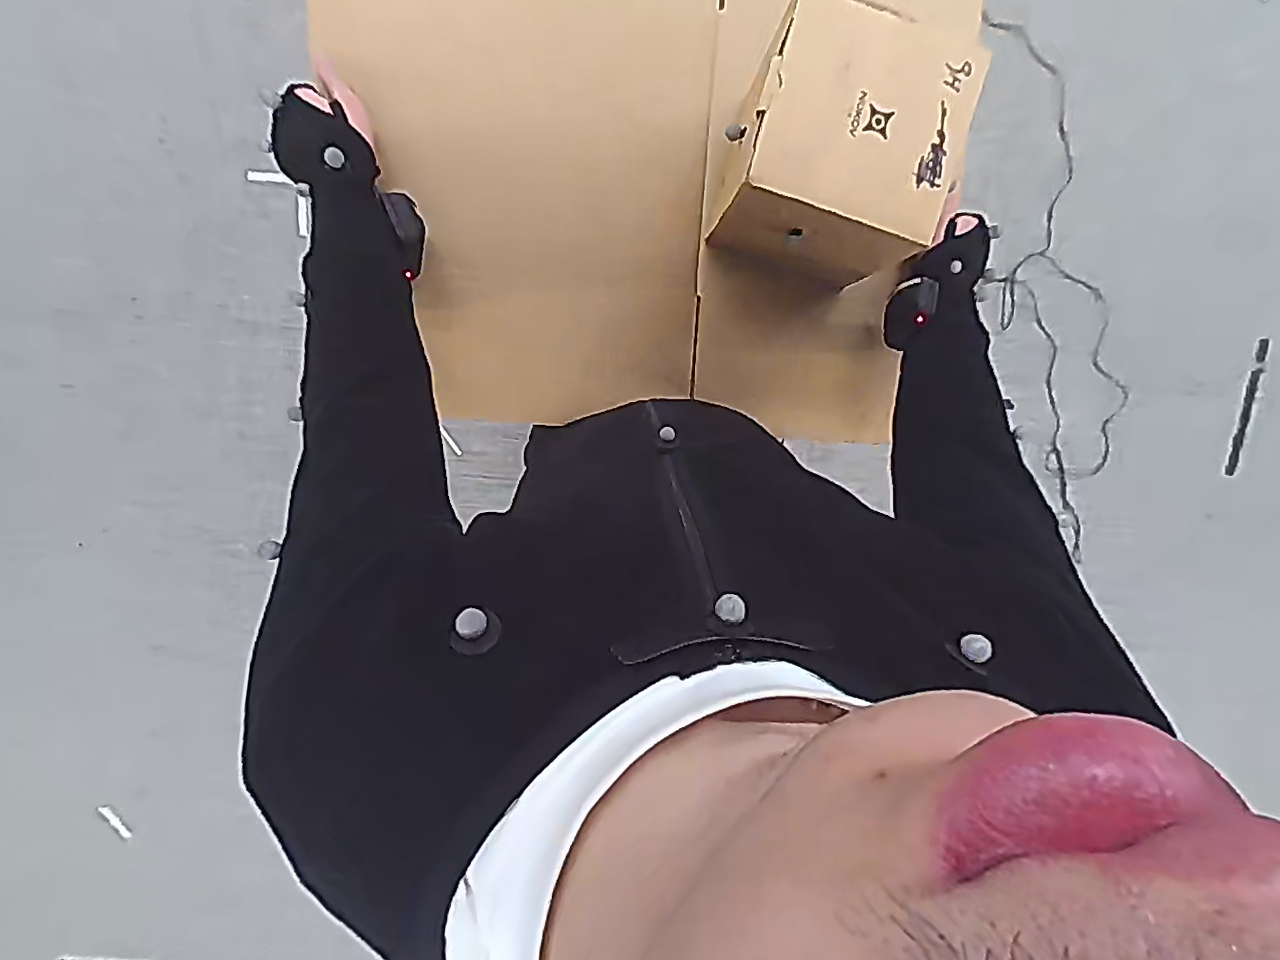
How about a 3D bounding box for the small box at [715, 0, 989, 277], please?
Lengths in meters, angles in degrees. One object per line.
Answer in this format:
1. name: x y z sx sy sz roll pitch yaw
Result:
1. small box: 0.188 -0.322 0.538 0.179 0.176 0.168 16 96 -5
